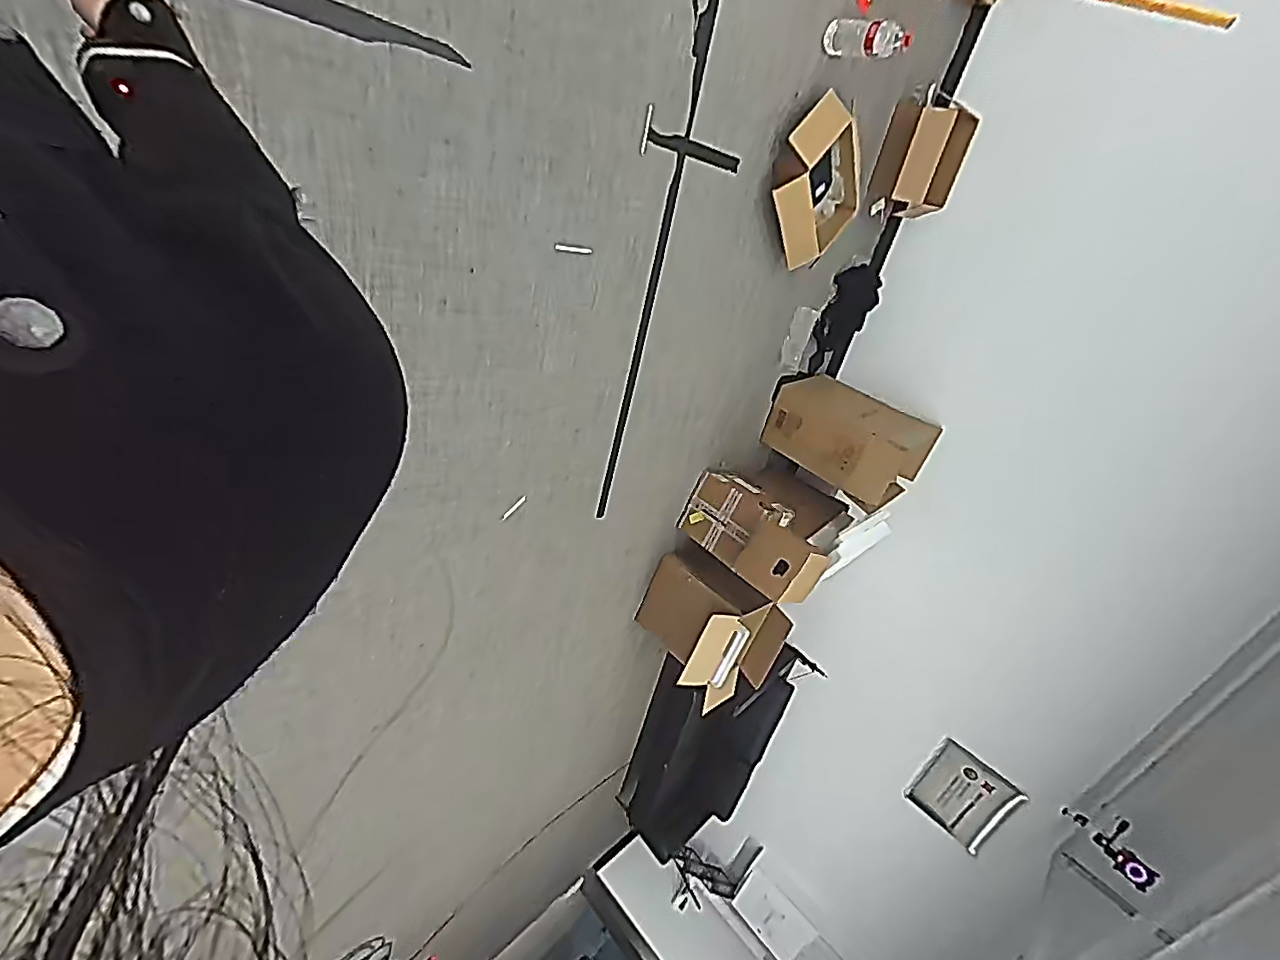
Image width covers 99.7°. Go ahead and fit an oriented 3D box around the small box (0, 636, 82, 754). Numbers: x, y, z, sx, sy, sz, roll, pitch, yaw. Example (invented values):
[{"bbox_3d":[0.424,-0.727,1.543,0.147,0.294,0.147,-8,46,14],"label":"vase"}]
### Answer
[{"bbox_3d":[-1.405,0.480,1.222,0.168,0.176,0.179,-14,130,-44],"label":"small box"}]
